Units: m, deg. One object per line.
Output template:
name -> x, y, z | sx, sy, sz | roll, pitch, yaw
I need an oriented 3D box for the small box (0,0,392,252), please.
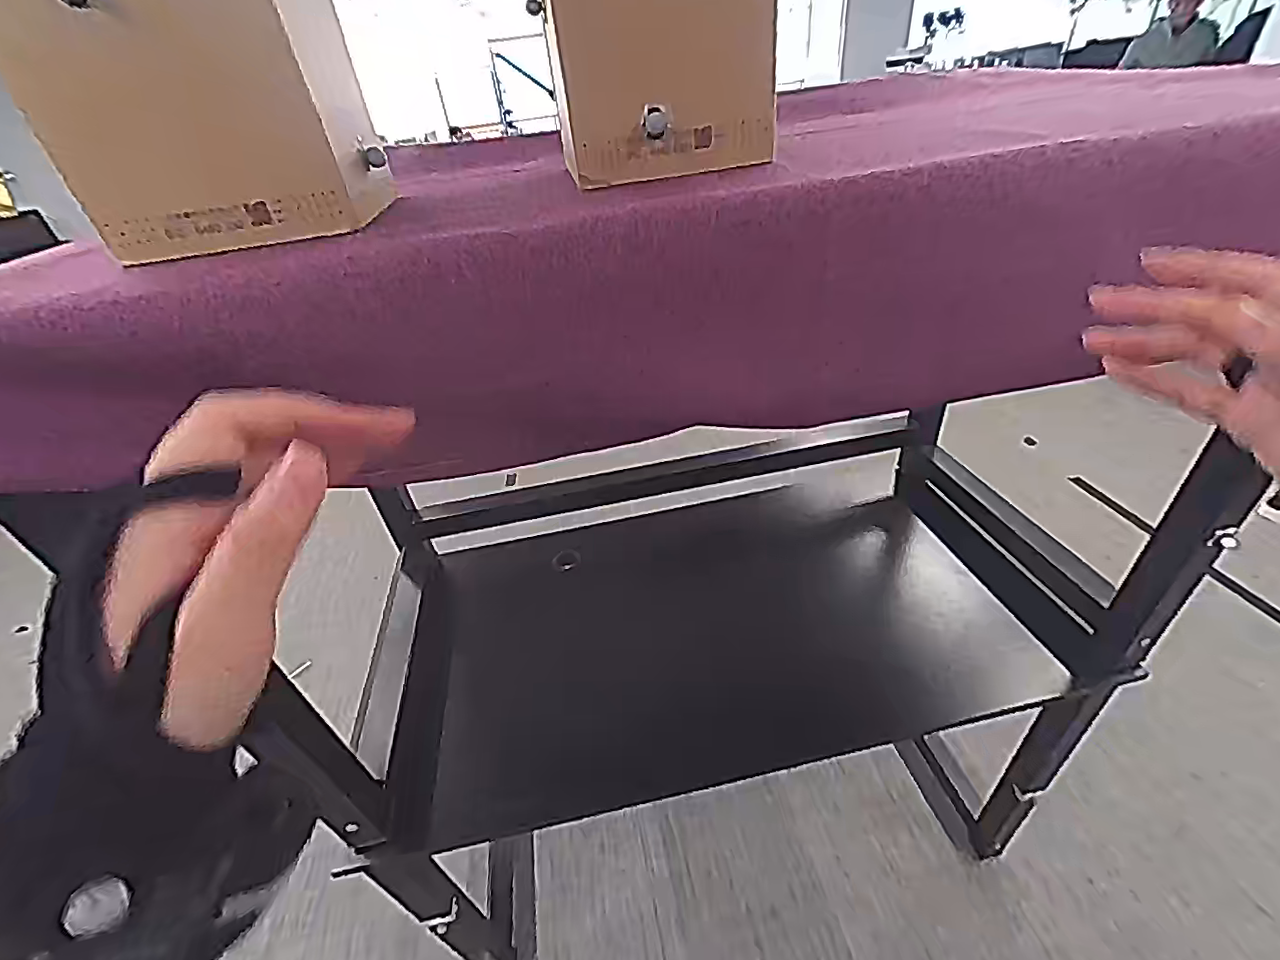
small box -> -0.305, -0.279, 0.402 | 0.168, 0.176, 0.179 | -12, 36, -6

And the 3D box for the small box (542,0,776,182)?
small box -> 0.007, -0.363, 0.459 | 0.168, 0.176, 0.179 | -11, 37, -3
